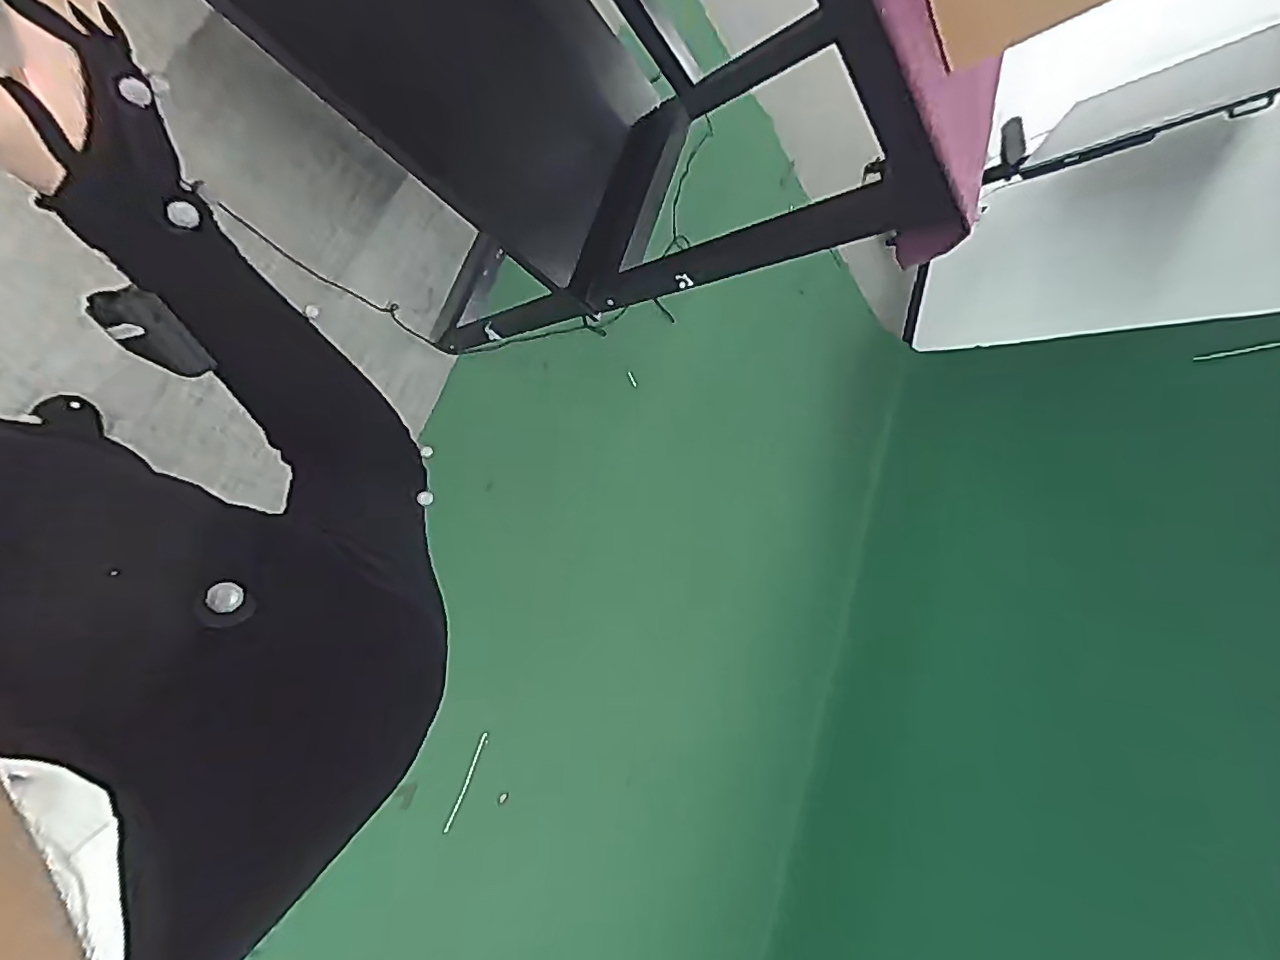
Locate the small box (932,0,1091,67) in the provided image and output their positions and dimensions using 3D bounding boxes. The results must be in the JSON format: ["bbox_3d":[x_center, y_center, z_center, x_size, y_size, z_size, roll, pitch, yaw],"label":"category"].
[{"bbox_3d":[0.376,-0.560,0.517,0.179,0.176,0.168,33,68,-41],"label":"small box"}]
